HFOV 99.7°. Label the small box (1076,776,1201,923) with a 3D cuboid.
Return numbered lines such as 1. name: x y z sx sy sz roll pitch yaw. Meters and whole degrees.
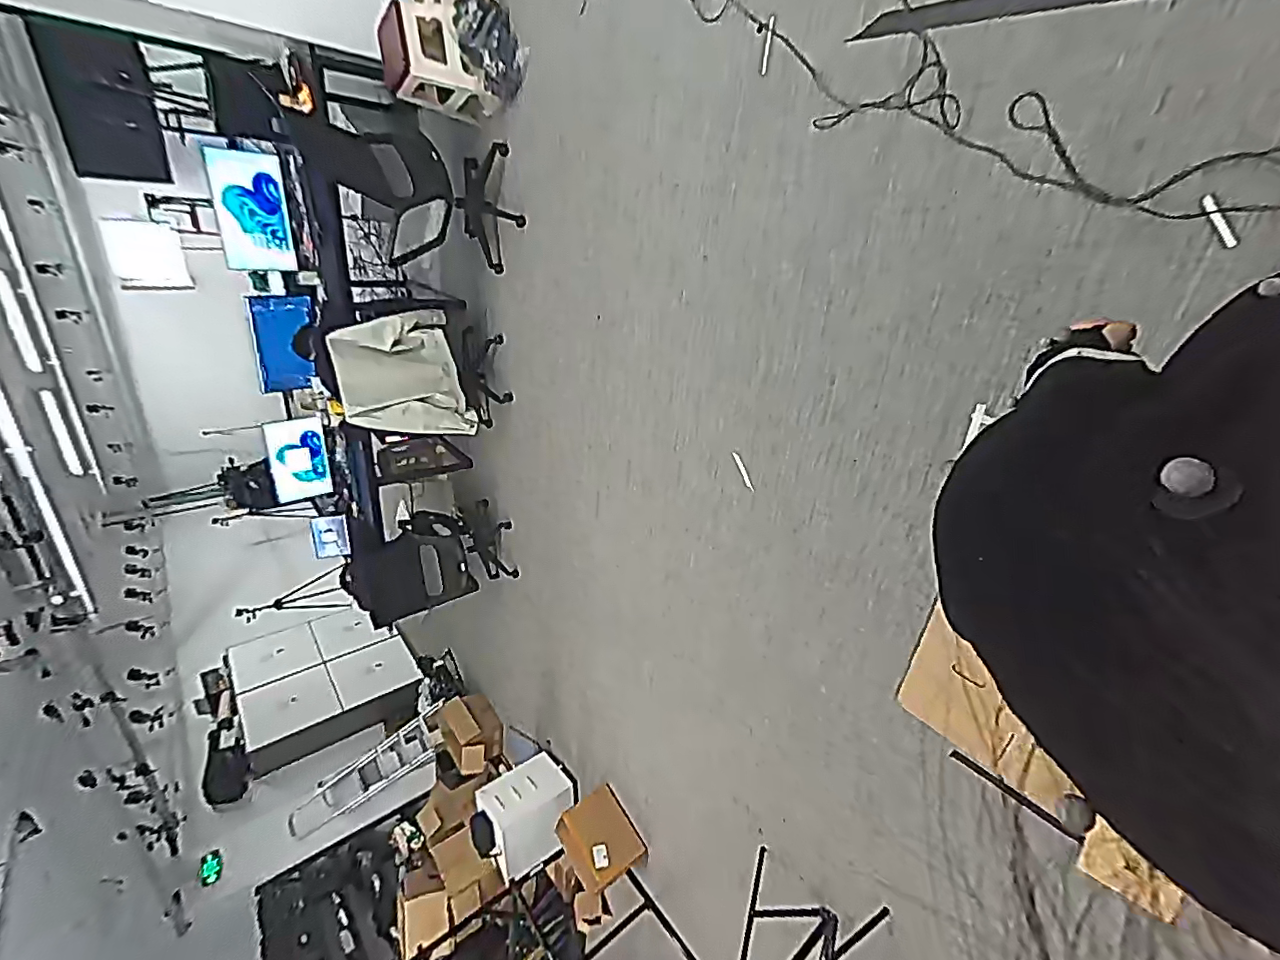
1. small box: 1.132 0.829 1.229 0.168 0.176 0.179 20 117 46
